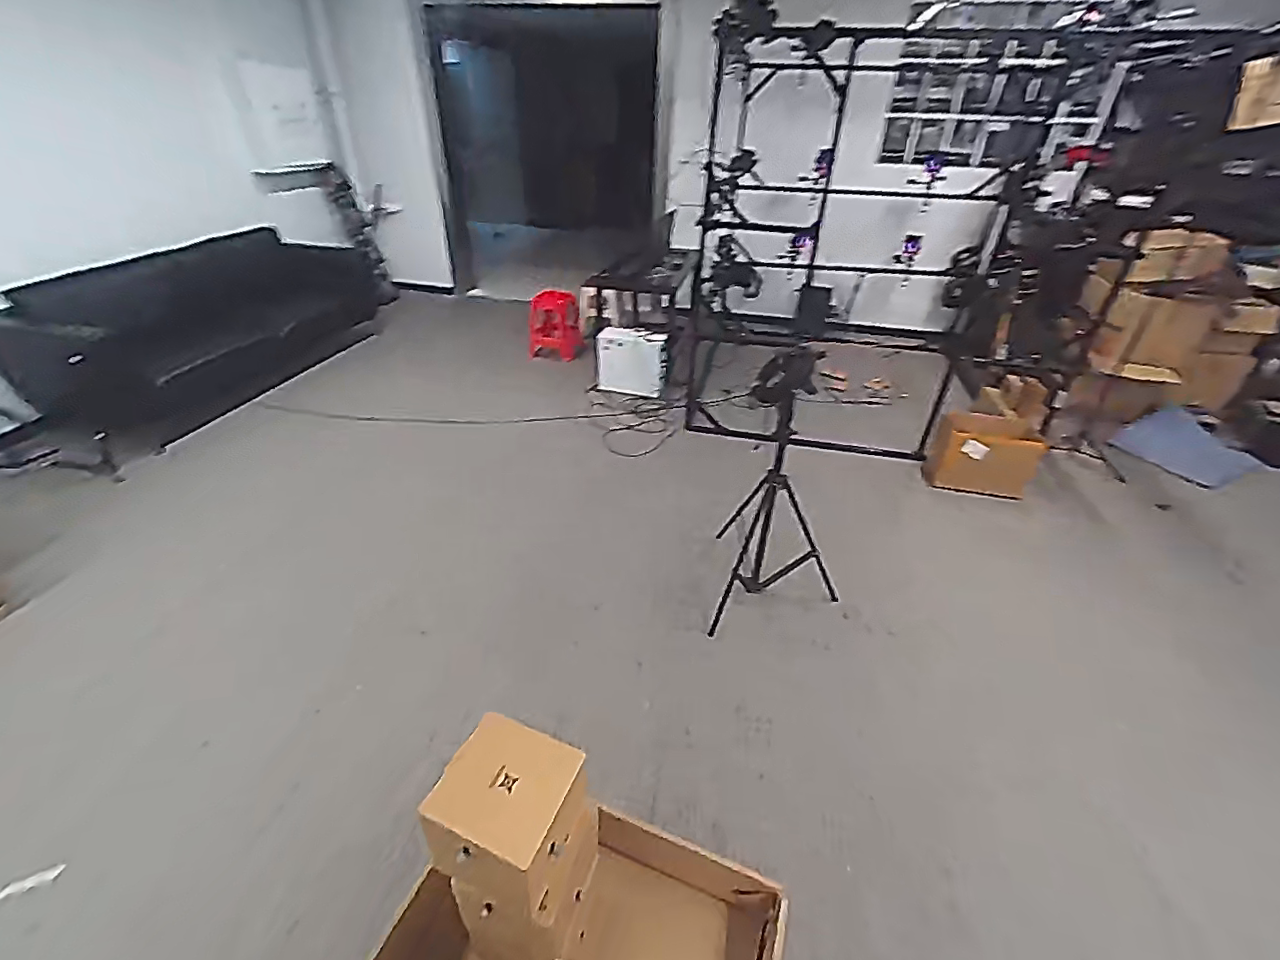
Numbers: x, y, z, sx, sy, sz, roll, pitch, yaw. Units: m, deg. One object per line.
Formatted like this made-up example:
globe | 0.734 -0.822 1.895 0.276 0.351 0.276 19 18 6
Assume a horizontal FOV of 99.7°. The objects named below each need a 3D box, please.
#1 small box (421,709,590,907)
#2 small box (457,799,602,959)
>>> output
small box | -0.186 0.484 0.799 0.179 0.176 0.168 15 35 17
small box | -0.172 0.626 0.882 0.168 0.176 0.179 13 35 15
